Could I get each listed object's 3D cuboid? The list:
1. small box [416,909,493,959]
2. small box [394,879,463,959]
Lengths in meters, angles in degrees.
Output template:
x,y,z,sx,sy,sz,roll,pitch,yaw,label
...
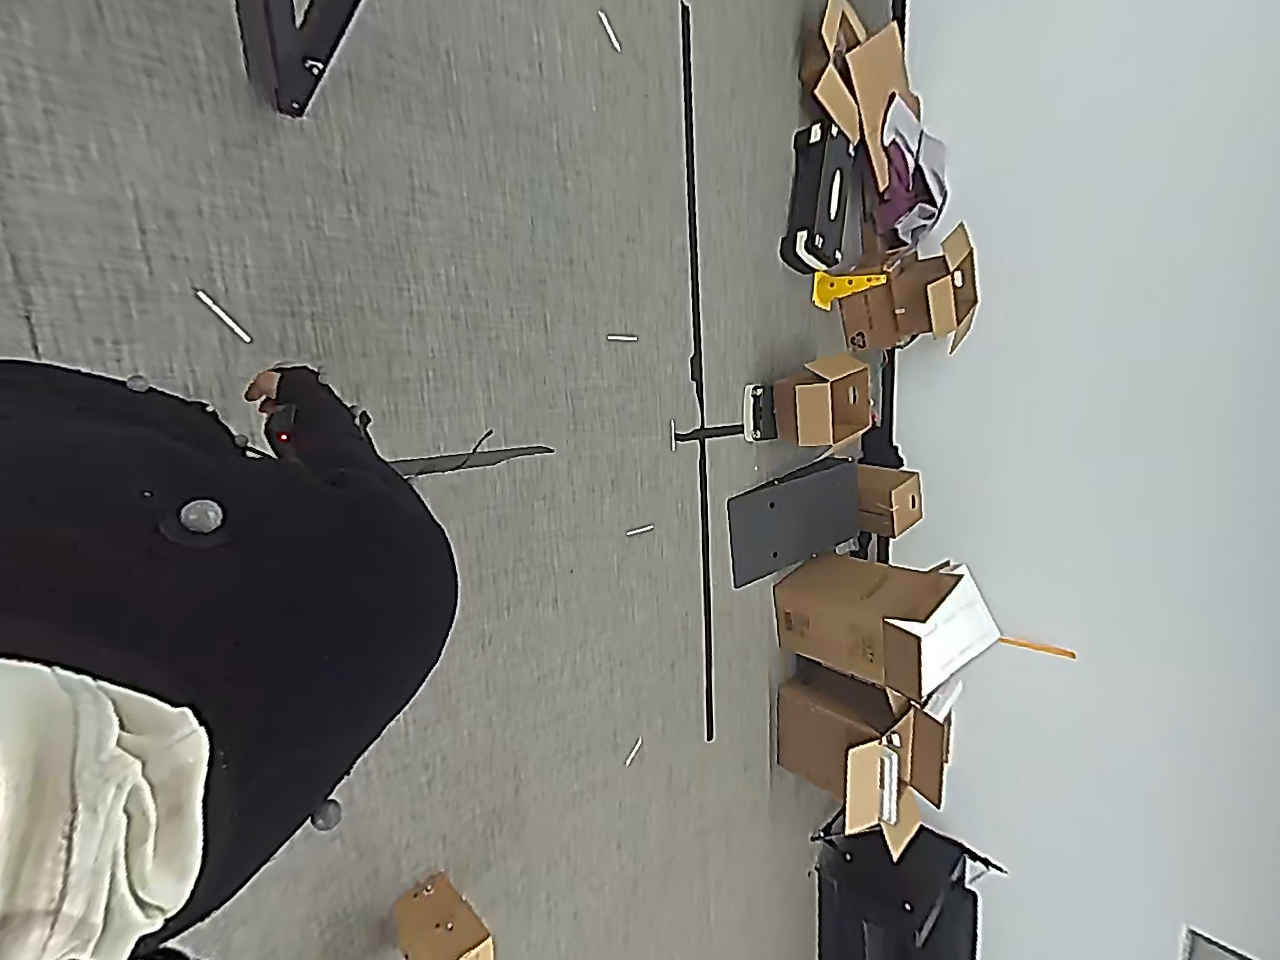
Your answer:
x,y,z,sx,sy,sz,roll,pitch,yaw,label
-0.551,1.449,1.613,0.168,0.176,0.179,-10,101,-44,small box
-0.669,1.440,1.727,0.168,0.176,0.179,-9,102,-43,small box
